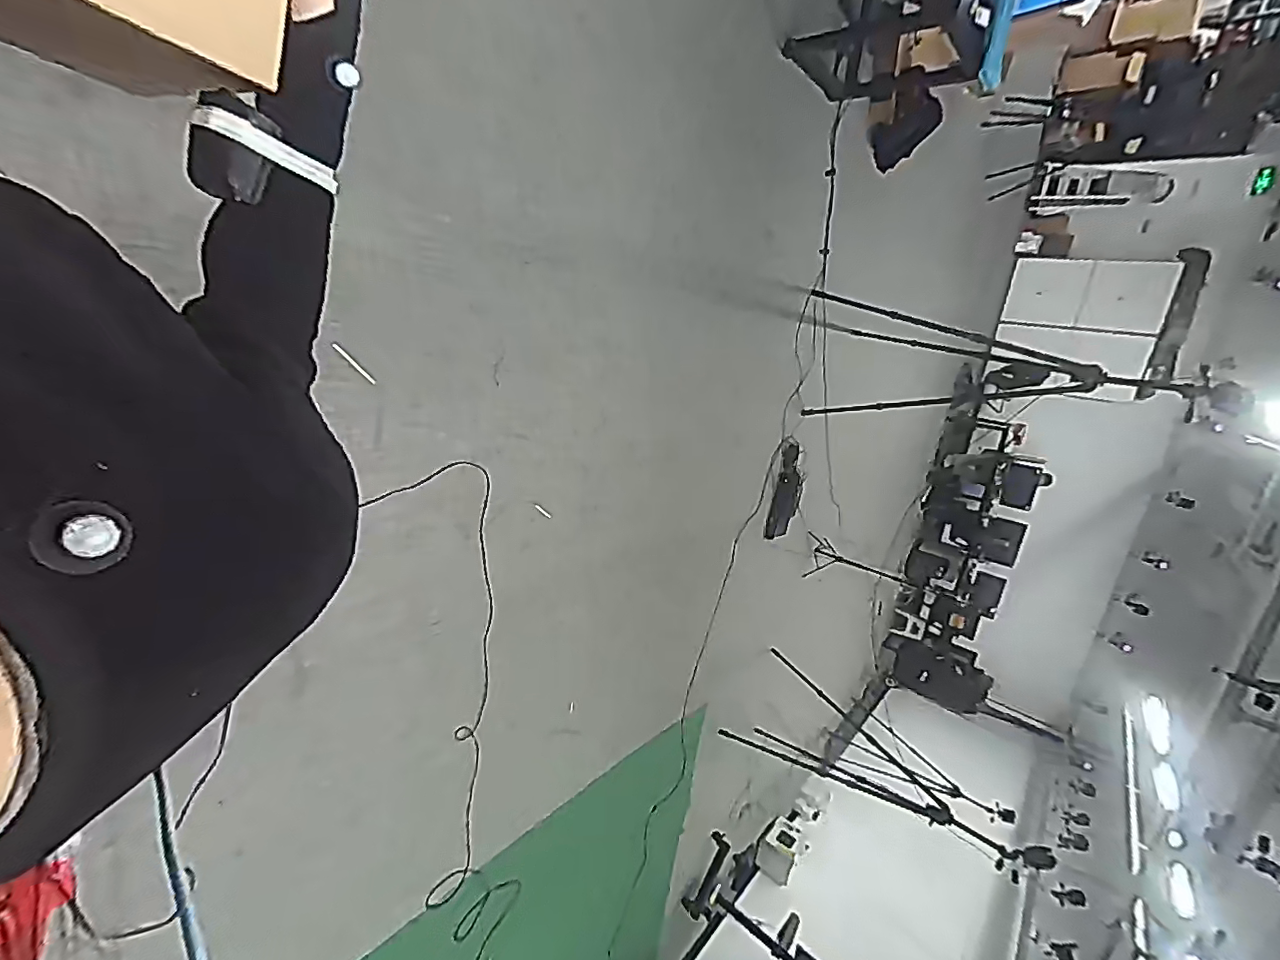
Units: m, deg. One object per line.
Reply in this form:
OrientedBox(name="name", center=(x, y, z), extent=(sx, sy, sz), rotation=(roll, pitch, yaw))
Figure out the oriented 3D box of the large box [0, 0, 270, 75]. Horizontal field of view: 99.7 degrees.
OrientedBox(name="large box", center=(-0.449, -0.466, 0.257), extent=(0.408, 0.320, 0.320), rotation=(-4, 114, -55))
